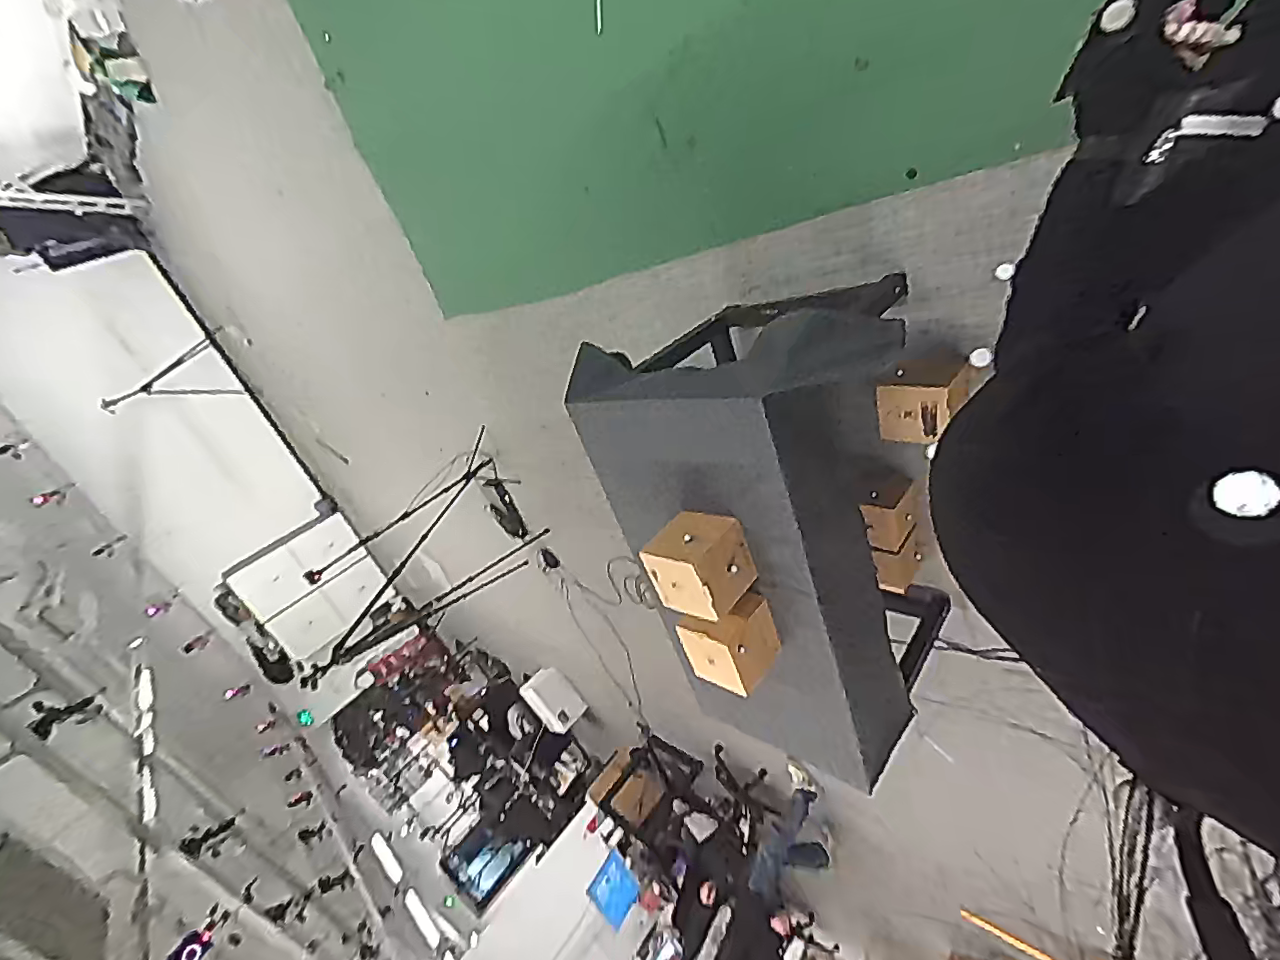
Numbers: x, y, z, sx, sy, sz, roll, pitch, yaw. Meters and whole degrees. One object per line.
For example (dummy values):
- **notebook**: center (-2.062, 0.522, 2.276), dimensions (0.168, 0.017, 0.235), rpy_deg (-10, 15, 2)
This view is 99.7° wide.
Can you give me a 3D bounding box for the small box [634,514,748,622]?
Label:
- **small box**: center (0.125, 0.191, 1.228), dimensions (0.179, 0.176, 0.168), rpy_deg (3, 125, 47)
